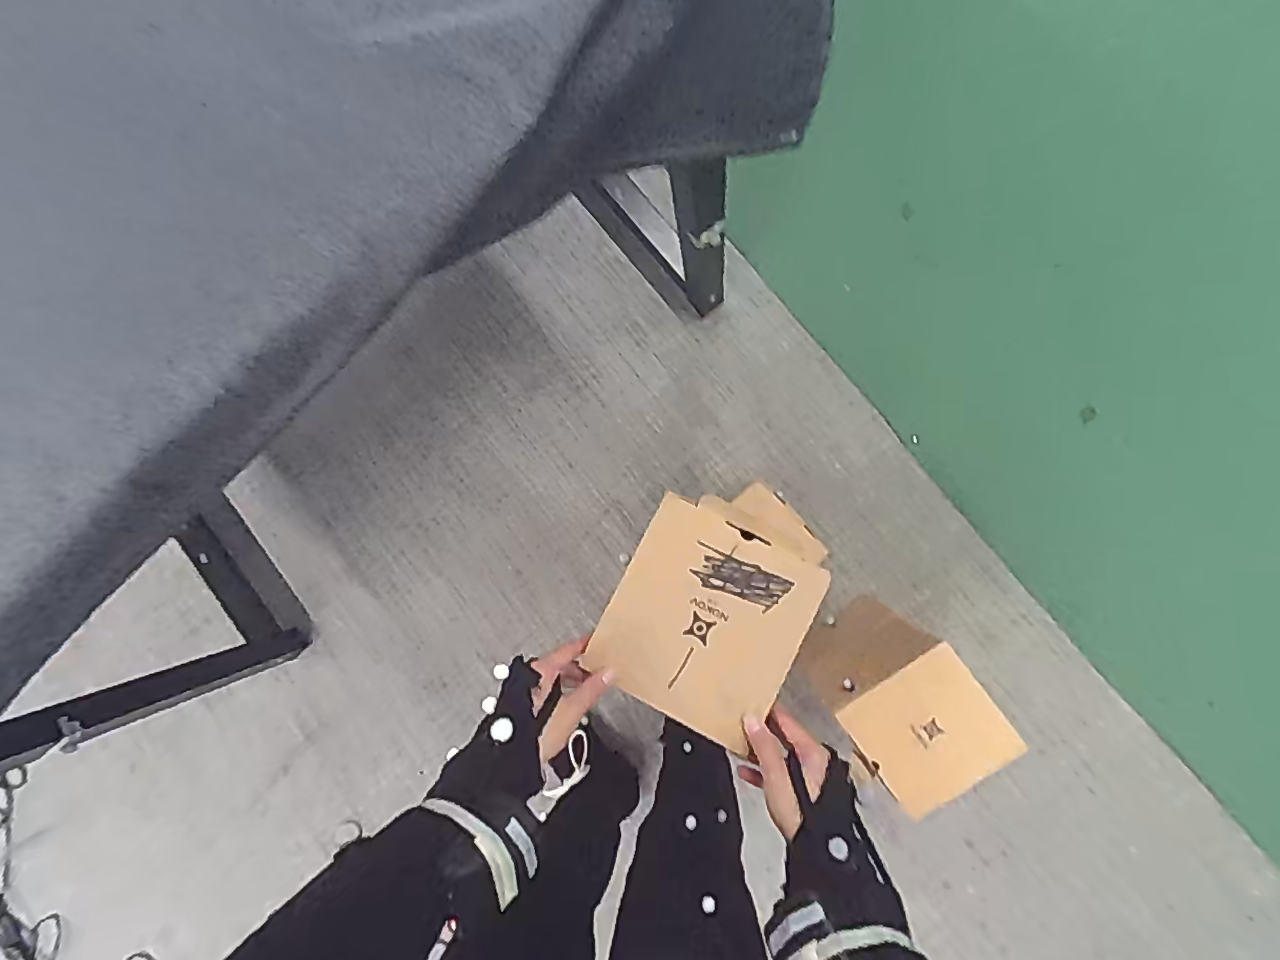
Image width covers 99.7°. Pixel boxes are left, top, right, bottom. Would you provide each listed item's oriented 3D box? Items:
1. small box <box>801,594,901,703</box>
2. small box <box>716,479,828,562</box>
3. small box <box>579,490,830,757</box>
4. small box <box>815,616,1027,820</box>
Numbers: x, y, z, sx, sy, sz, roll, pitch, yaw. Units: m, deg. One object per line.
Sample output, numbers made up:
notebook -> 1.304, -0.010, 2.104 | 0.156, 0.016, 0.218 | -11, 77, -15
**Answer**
small box -> 0.393, 0.320, 0.923 | 0.179, 0.176, 0.168 | -38, 85, 7
small box -> 0.197, 0.114, 0.957 | 0.179, 0.176, 0.168 | -43, 83, 6
small box -> 0.058, 0.129, 0.543 | 0.168, 0.176, 0.179 | 26, 85, 6
small box -> 0.374, 0.316, 0.761 | 0.179, 0.176, 0.168 | -37, 84, 5
